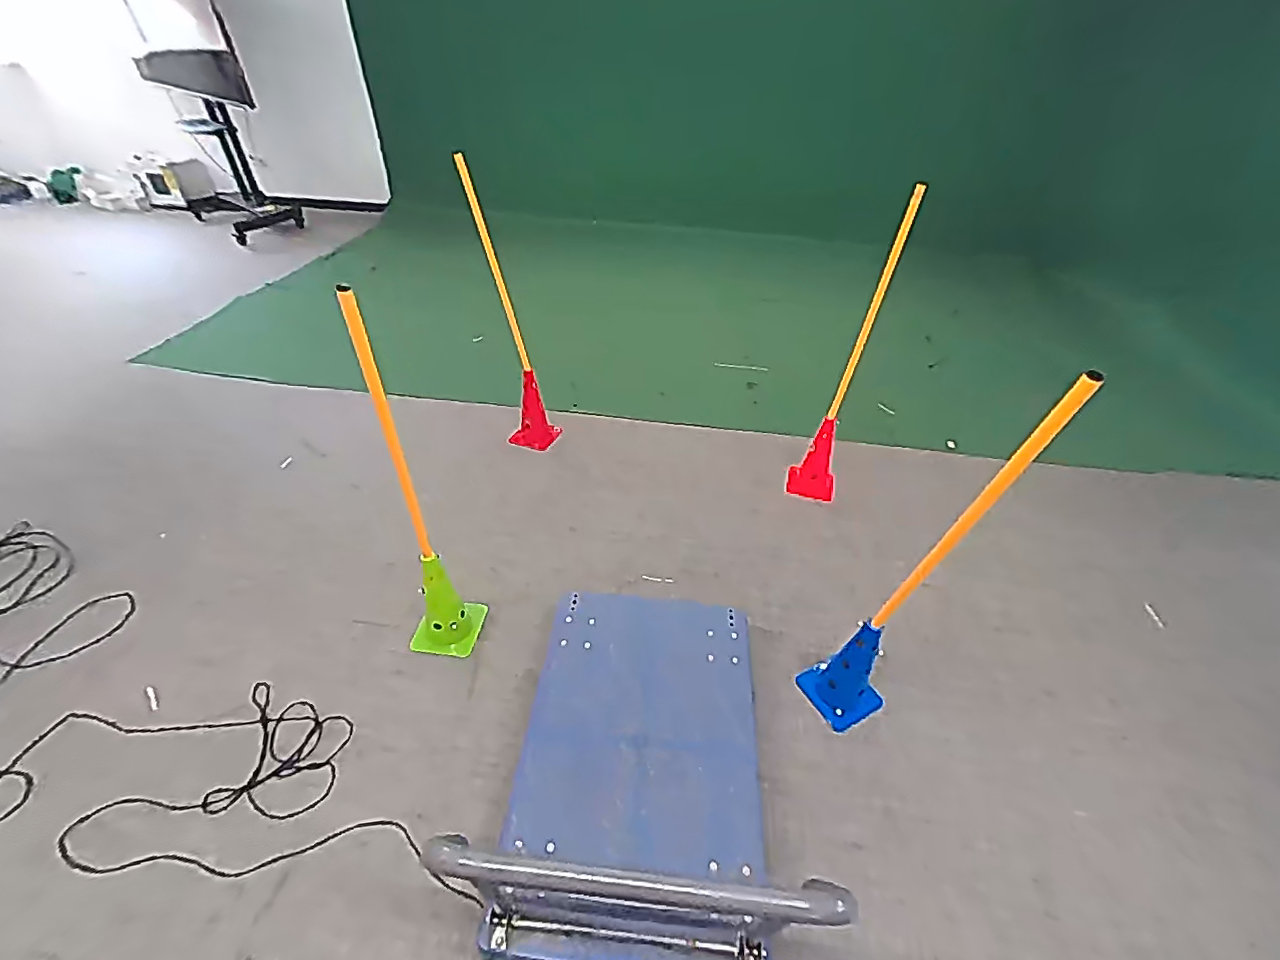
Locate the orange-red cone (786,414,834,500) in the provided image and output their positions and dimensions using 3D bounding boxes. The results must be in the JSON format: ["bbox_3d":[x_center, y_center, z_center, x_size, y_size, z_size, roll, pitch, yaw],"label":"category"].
[{"bbox_3d":[0.758,-0.121,2.280,0.198,0.360,0.199,14,43,14],"label":"orange-red cone"}]
